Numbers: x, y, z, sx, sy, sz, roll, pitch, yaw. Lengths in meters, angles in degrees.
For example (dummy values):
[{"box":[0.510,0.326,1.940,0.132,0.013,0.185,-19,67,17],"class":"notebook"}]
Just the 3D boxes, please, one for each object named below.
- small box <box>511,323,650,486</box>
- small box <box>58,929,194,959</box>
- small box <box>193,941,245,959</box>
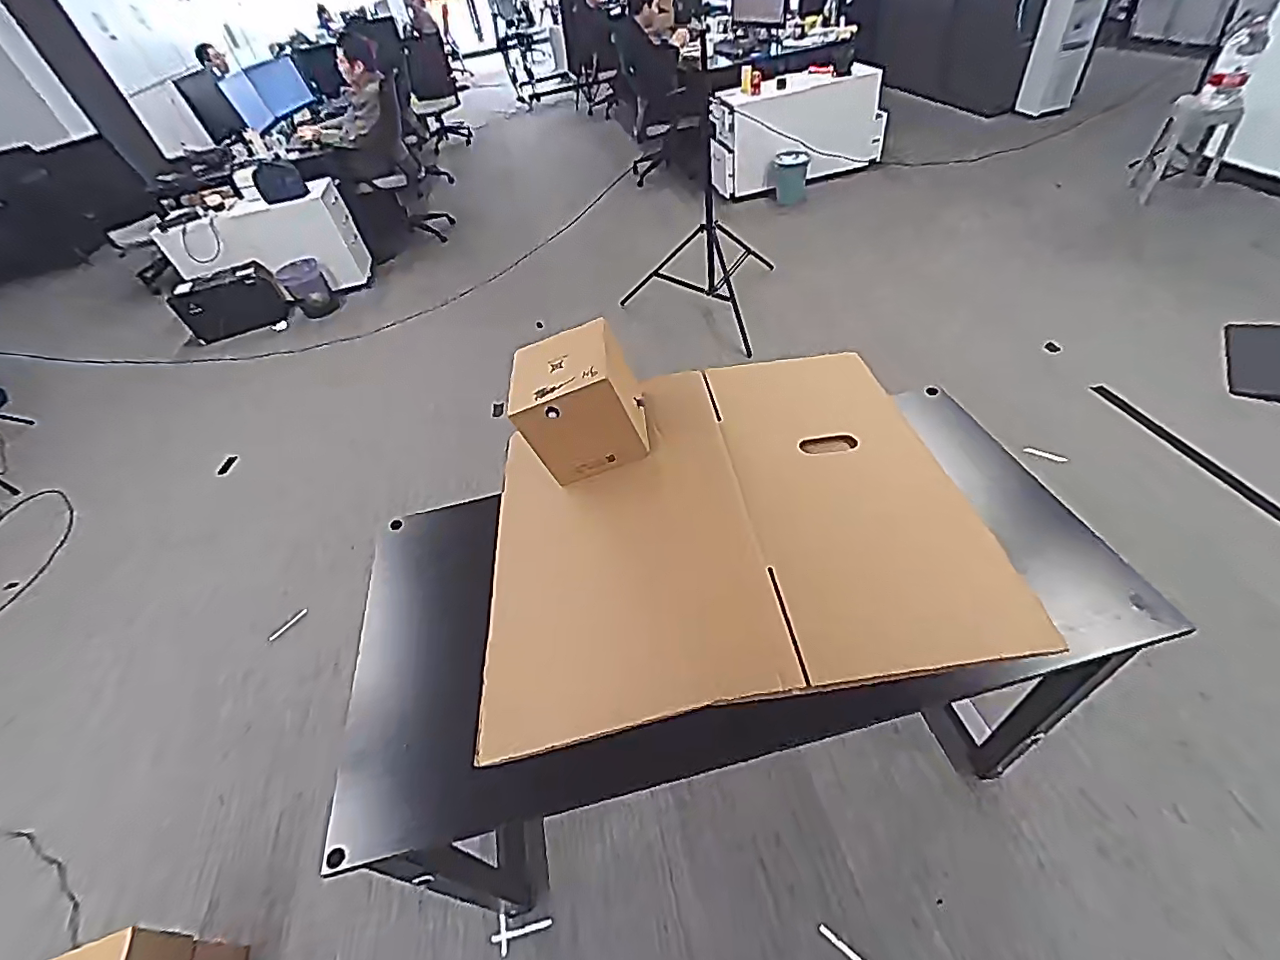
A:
[{"box":[-0.092,-0.122,0.896,0.168,0.176,0.179,-20,43,13],"class":"small box"},{"box":[-0.990,0.986,1.012,0.168,0.176,0.179,-19,44,-9],"class":"small box"},{"box":[-0.965,1.102,1.123,0.168,0.176,0.179,-17,46,-5],"class":"small box"}]
